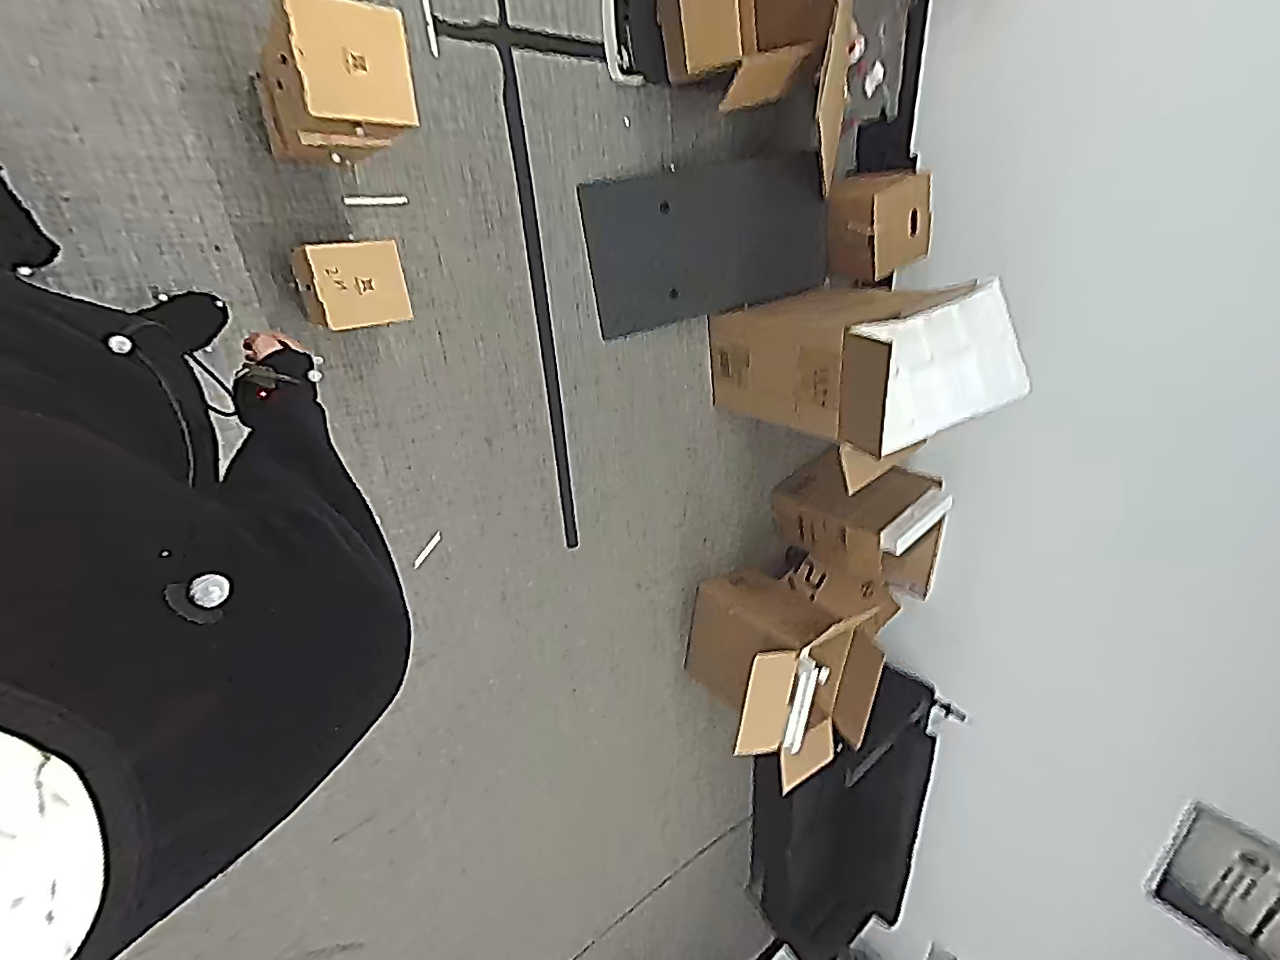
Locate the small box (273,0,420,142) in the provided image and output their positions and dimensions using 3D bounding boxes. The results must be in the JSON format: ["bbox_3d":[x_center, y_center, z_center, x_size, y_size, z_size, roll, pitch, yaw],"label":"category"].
[{"bbox_3d":[-0.510,-0.699,0.942,0.179,0.176,0.168,-18,119,-32],"label":"small box"}]

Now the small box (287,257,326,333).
[{"bbox_3d":[-0.726,-0.461,1.313,0.179,0.176,0.168,-22,119,-30],"label":"small box"}]

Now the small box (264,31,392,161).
[{"bbox_3d":[-0.613,-0.739,1.062,0.168,0.176,0.179,-20,121,-32],"label":"small box"}]

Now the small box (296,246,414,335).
[{"bbox_3d":[-0.626,-0.422,1.187,0.179,0.176,0.168,-21,119,-31],"label":"small box"}]
